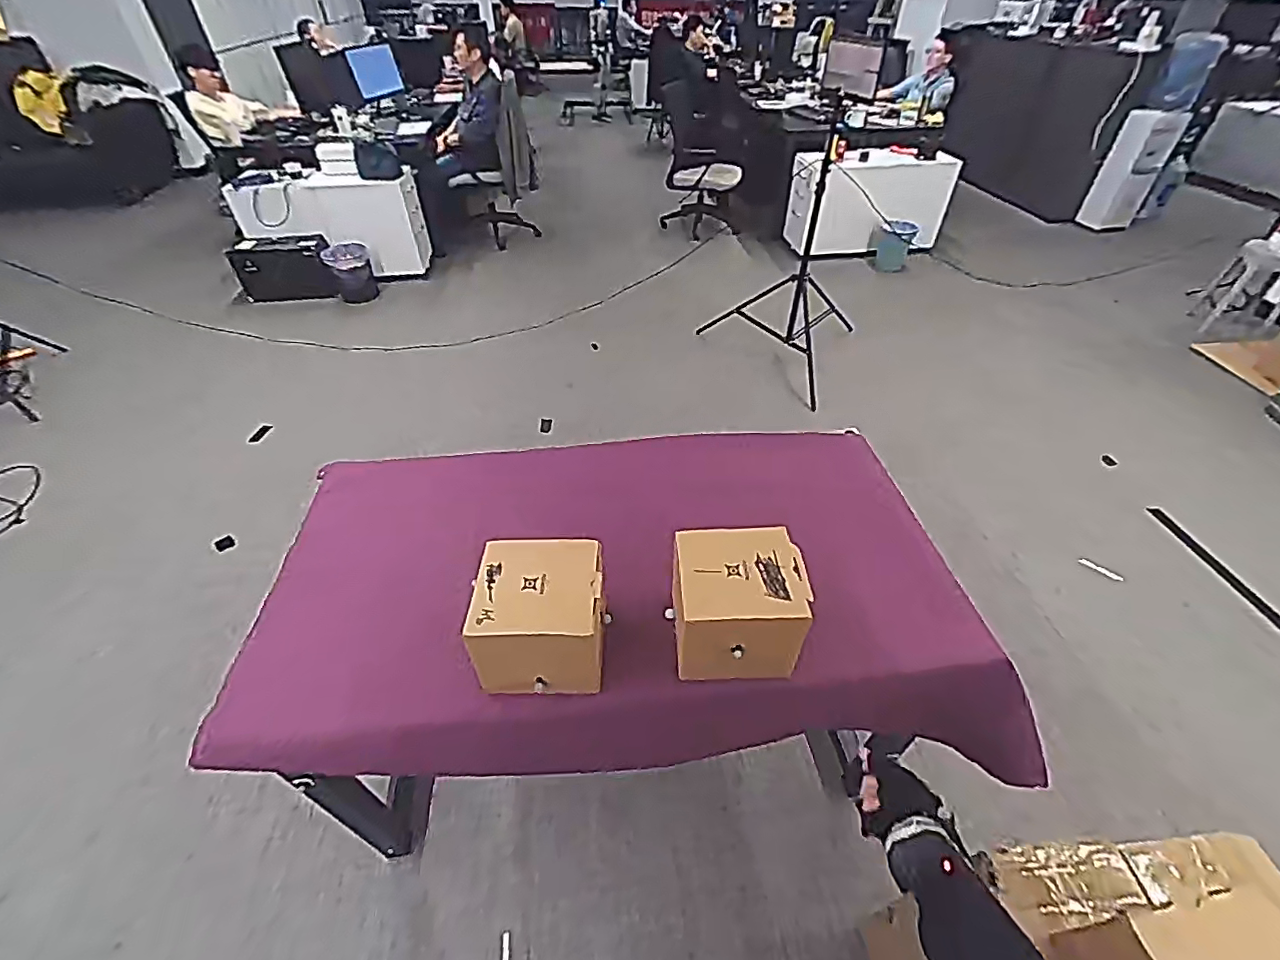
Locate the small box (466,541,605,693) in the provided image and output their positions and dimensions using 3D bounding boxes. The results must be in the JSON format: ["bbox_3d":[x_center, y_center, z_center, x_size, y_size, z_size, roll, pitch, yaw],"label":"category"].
[{"bbox_3d":[-0.145,0.211,0.827,0.179,0.176,0.168,0,42,0],"label":"small box"}]

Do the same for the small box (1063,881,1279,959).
[{"bbox_3d":[0.620,0.571,0.584,0.168,0.176,0.179,-9,45,-5],"label":"small box"}]

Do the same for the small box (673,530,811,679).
[{"bbox_3d":[0.146,0.194,0.842,0.179,0.176,0.168,-2,42,0],"label":"small box"}]
